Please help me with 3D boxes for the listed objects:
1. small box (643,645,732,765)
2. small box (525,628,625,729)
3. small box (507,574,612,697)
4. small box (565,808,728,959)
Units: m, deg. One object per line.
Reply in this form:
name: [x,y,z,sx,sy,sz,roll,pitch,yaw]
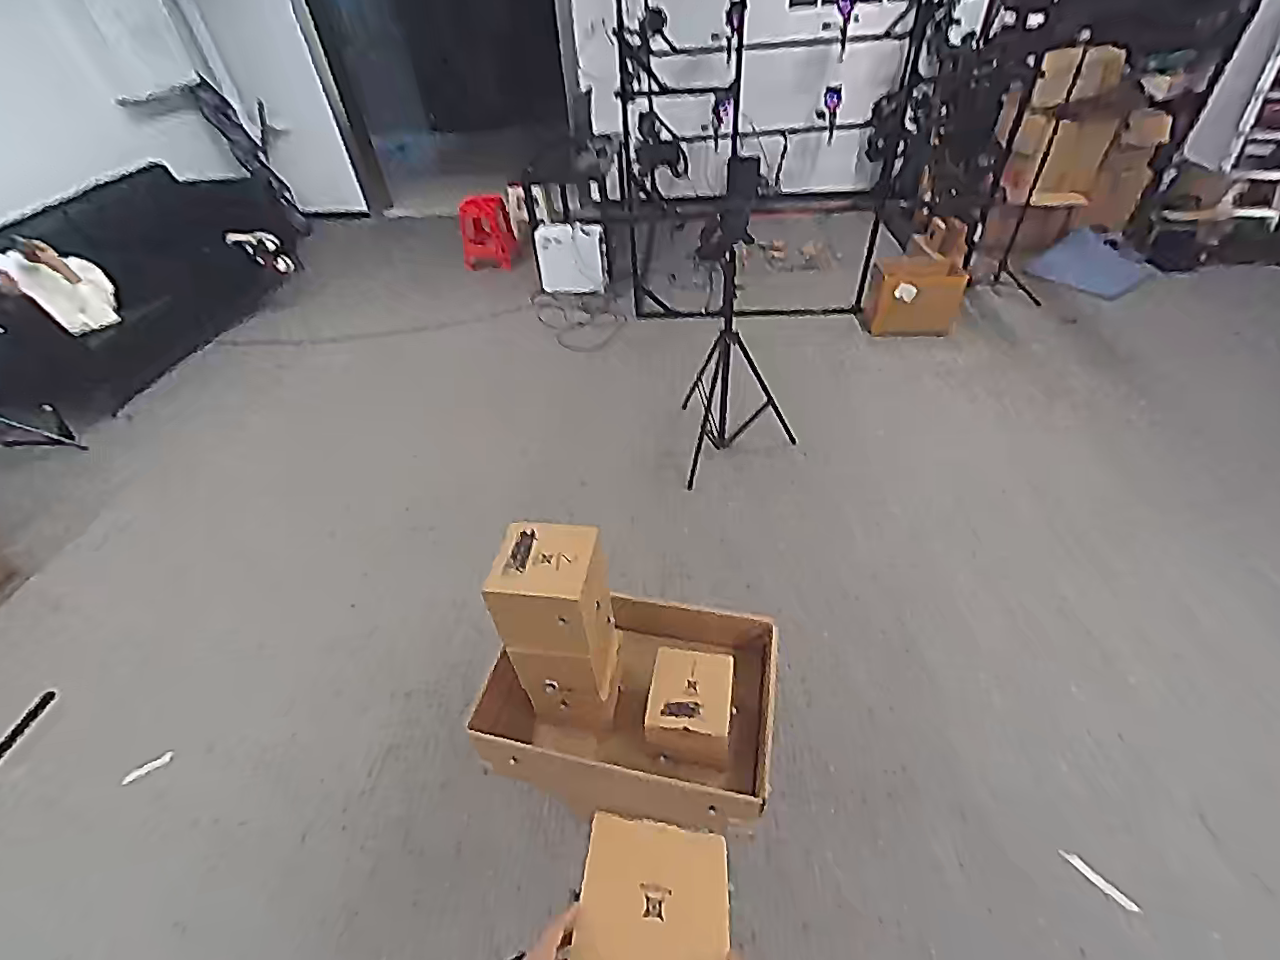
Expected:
small box: [0.106,0.485,1.161,0.168,0.176,0.179,5,42,10]
small box: [-0.138,0.443,1.226,0.179,0.176,0.168,5,44,9]
small box: [-0.156,0.320,1.119,0.168,0.176,0.179,2,42,8]
small box: [0.003,0.528,0.625,0.168,0.176,0.179,10,25,2]
